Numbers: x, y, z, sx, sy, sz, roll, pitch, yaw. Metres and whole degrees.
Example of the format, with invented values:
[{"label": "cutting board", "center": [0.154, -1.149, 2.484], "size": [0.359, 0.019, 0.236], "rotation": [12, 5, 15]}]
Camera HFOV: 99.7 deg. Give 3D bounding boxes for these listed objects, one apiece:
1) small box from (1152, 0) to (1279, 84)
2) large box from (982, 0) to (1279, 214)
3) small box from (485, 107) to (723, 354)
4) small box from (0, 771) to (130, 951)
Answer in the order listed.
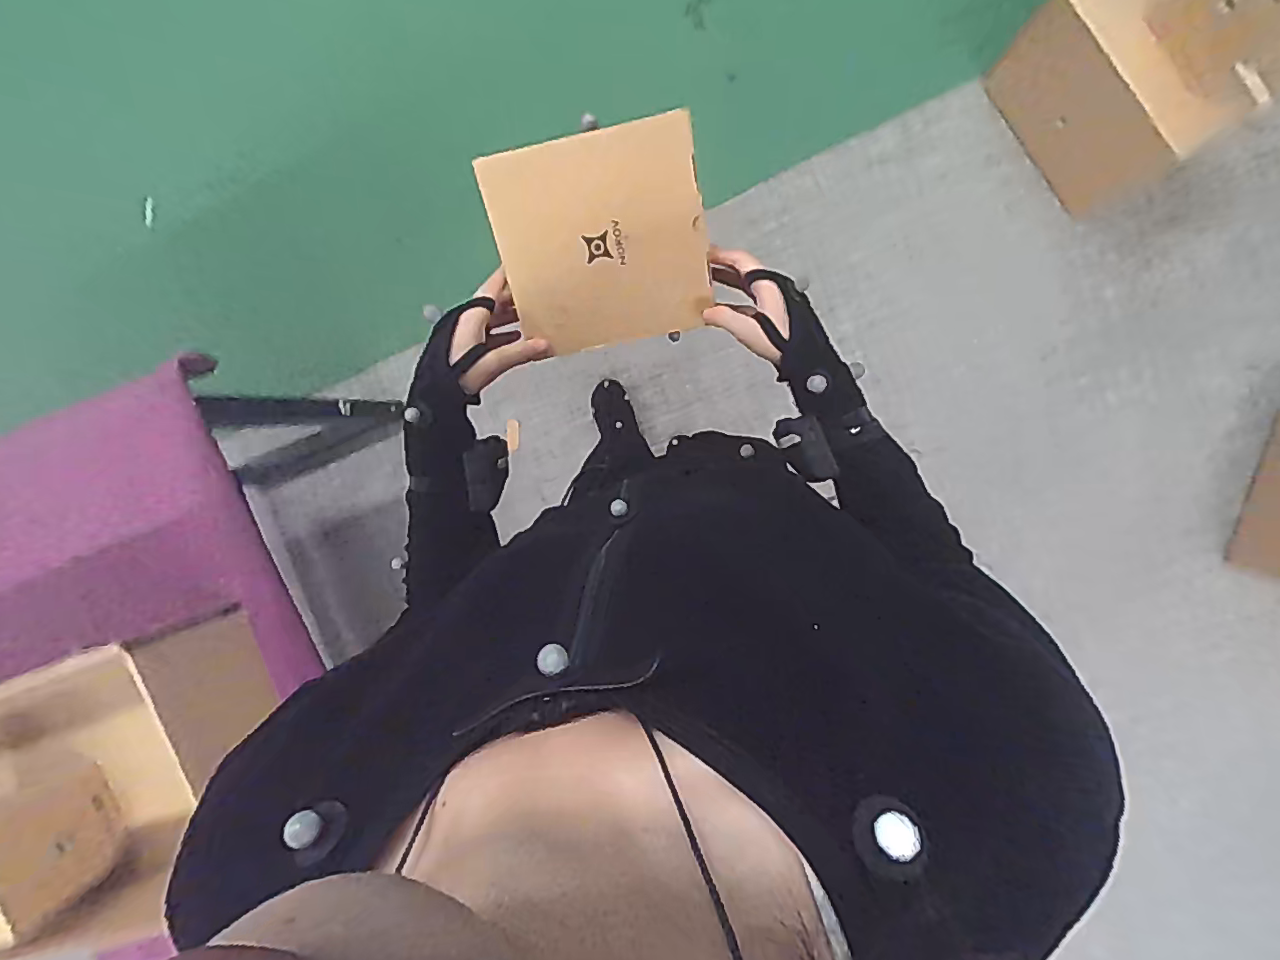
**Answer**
[{"label": "small box", "center": [1.013, -0.811, 0.883], "size": [0.168, 0.176, 0.179], "rotation": [-33, 92, 11]}, {"label": "large box", "center": [1.029, -0.861, 1.124], "size": [0.320, 0.320, 0.408], "rotation": [-36, 89, 9]}, {"label": "small box", "center": [-0.025, -0.233, 0.525], "size": [0.179, 0.176, 0.168], "rotation": [-11, 115, 3]}, {"label": "small box", "center": [-0.957, 0.591, 0.841], "size": [0.179, 0.176, 0.168], "rotation": [-20, 93, 8]}]
